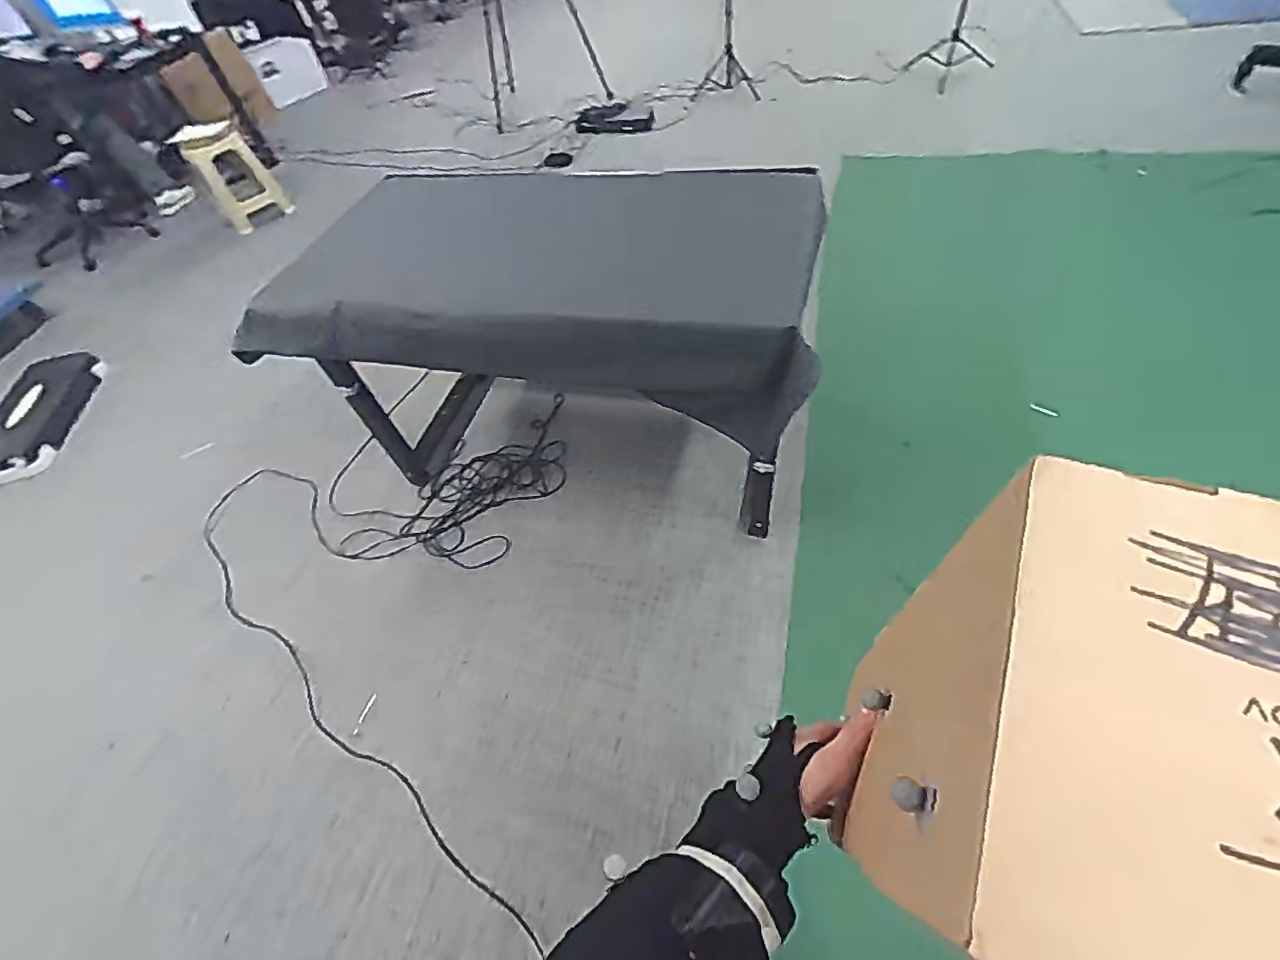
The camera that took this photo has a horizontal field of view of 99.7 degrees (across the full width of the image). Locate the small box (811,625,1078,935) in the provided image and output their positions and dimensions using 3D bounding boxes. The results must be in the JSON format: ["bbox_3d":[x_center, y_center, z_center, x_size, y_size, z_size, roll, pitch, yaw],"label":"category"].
[{"bbox_3d":[0.270,0.268,0.513,0.168,0.176,0.179,18,67,21],"label":"small box"}]
